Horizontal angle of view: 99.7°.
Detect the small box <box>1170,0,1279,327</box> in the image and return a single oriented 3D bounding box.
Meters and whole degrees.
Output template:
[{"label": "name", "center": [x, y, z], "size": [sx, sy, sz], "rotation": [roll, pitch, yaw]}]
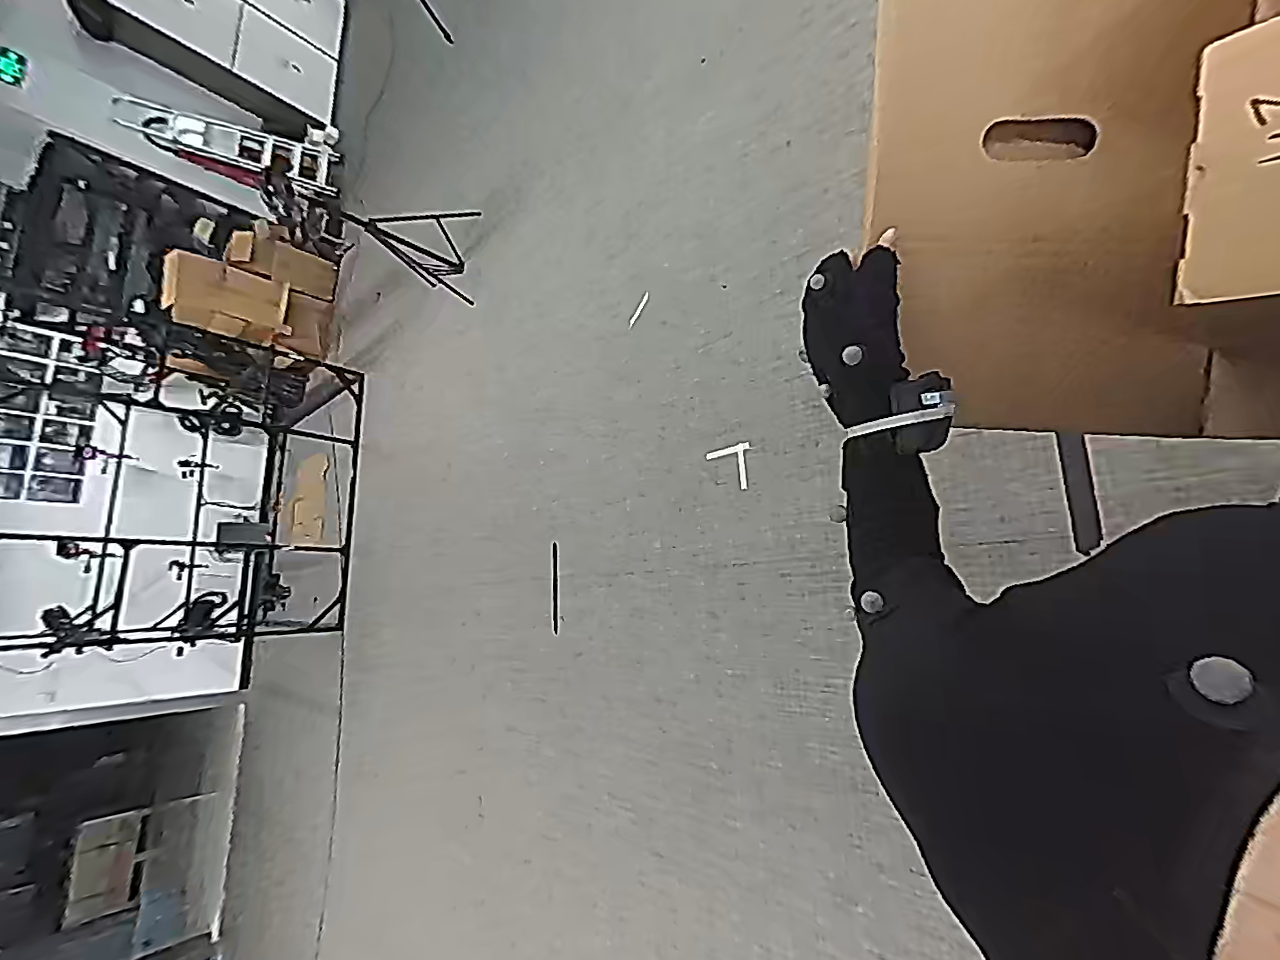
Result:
[{"label": "small box", "center": [0.474, -0.200, 0.334], "size": [0.179, 0.176, 0.168], "rotation": [9, 96, 53]}]
